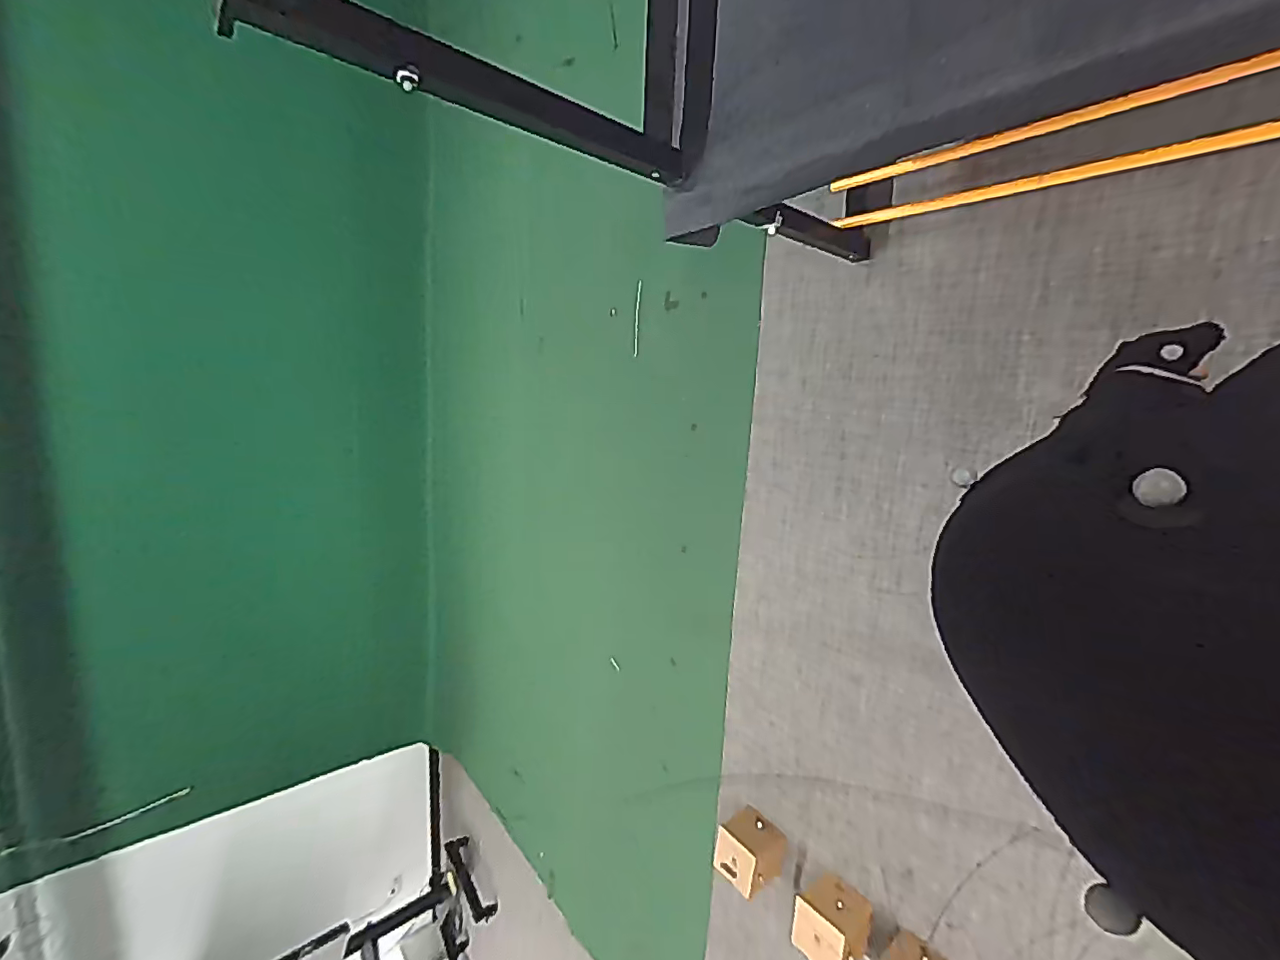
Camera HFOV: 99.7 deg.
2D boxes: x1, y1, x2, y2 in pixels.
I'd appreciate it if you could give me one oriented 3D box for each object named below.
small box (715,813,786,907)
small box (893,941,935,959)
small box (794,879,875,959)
[{"bbox_3d":[0.391,1.326,1.899,0.168,0.176,0.179,19,106,48],"label":"small box"},{"bbox_3d":[0.757,1.423,1.458,0.168,0.176,0.179,15,104,48],"label":"small box"},{"bbox_3d":[0.598,1.385,1.654,0.168,0.176,0.179,14,104,49],"label":"small box"}]
